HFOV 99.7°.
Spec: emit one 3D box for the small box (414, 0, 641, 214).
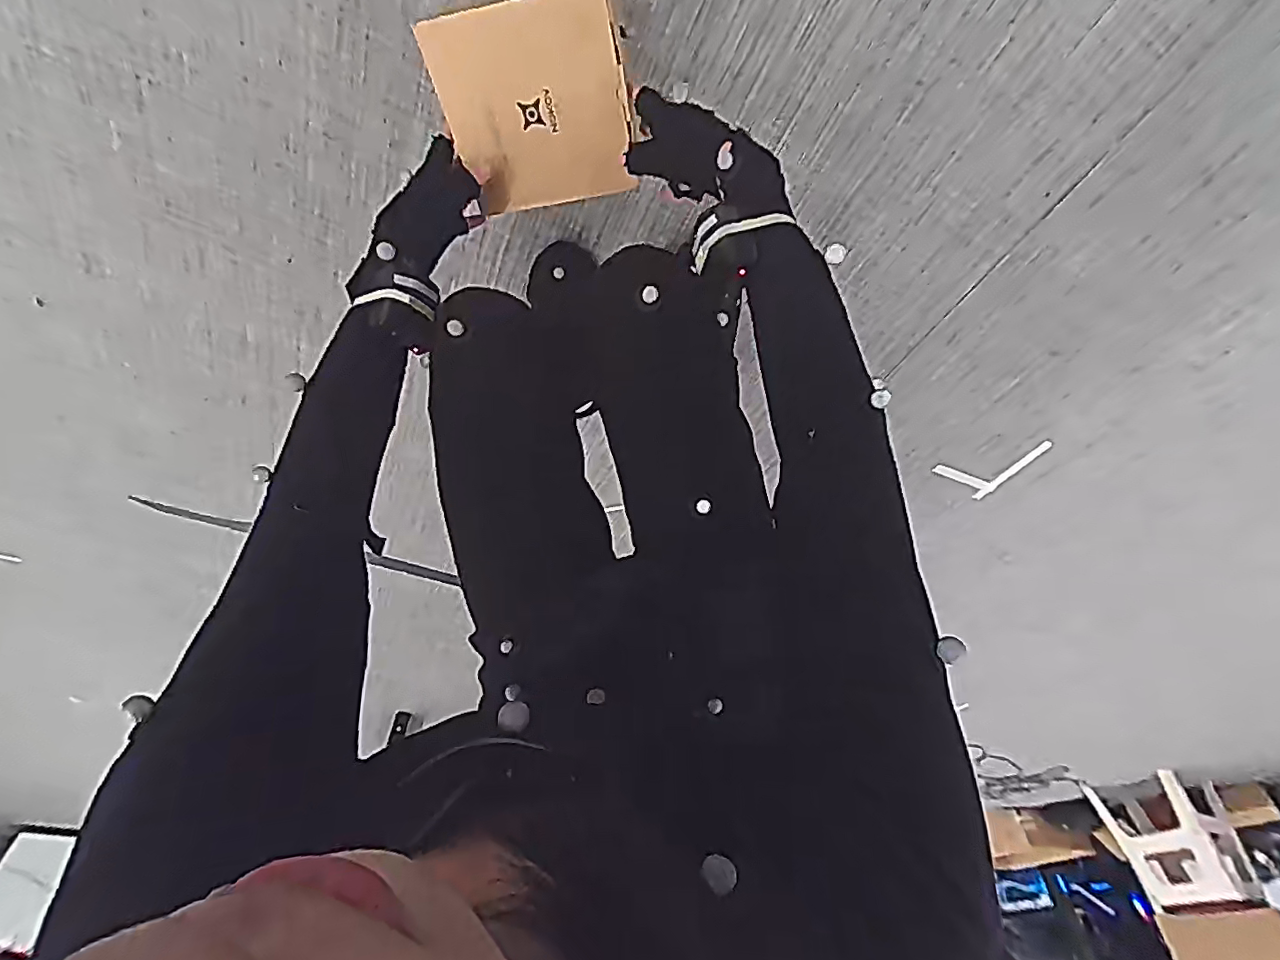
[{"bbox_3d":[-0.096,-0.405,0.563,0.179,0.176,0.168,-6,134,8],"label":"small box"}]
